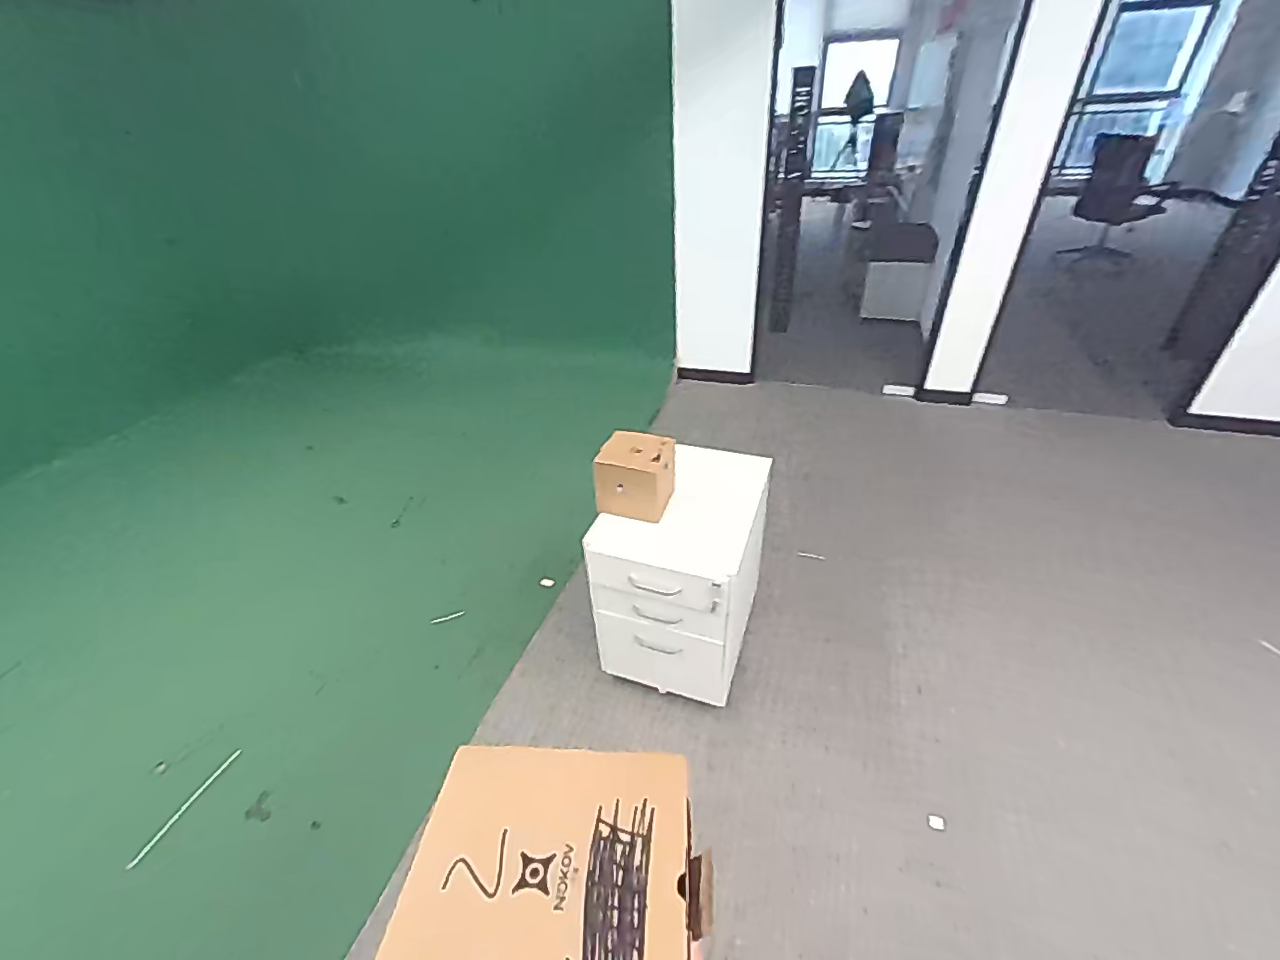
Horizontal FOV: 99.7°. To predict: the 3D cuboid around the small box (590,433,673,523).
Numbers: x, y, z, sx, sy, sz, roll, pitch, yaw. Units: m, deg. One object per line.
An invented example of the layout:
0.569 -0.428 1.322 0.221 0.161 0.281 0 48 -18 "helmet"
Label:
-0.017 -0.005 1.451 0.179 0.176 0.168 10 38 16 "small box"
